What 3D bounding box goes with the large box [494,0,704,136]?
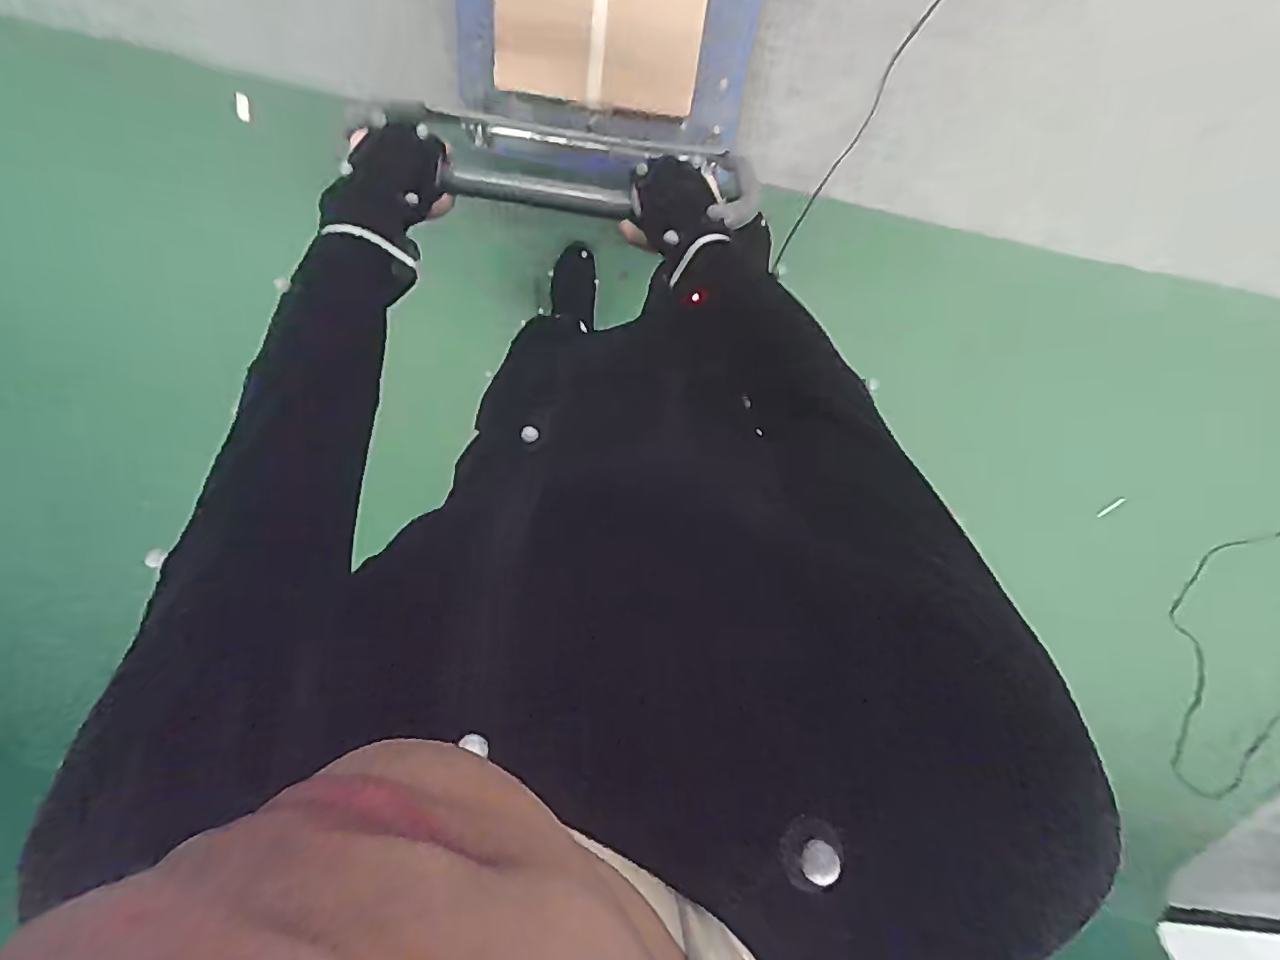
[{"bbox_3d":[-0.050,-0.836,0.906,0.320,0.320,0.408,7,119,-3],"label":"large box"}]
